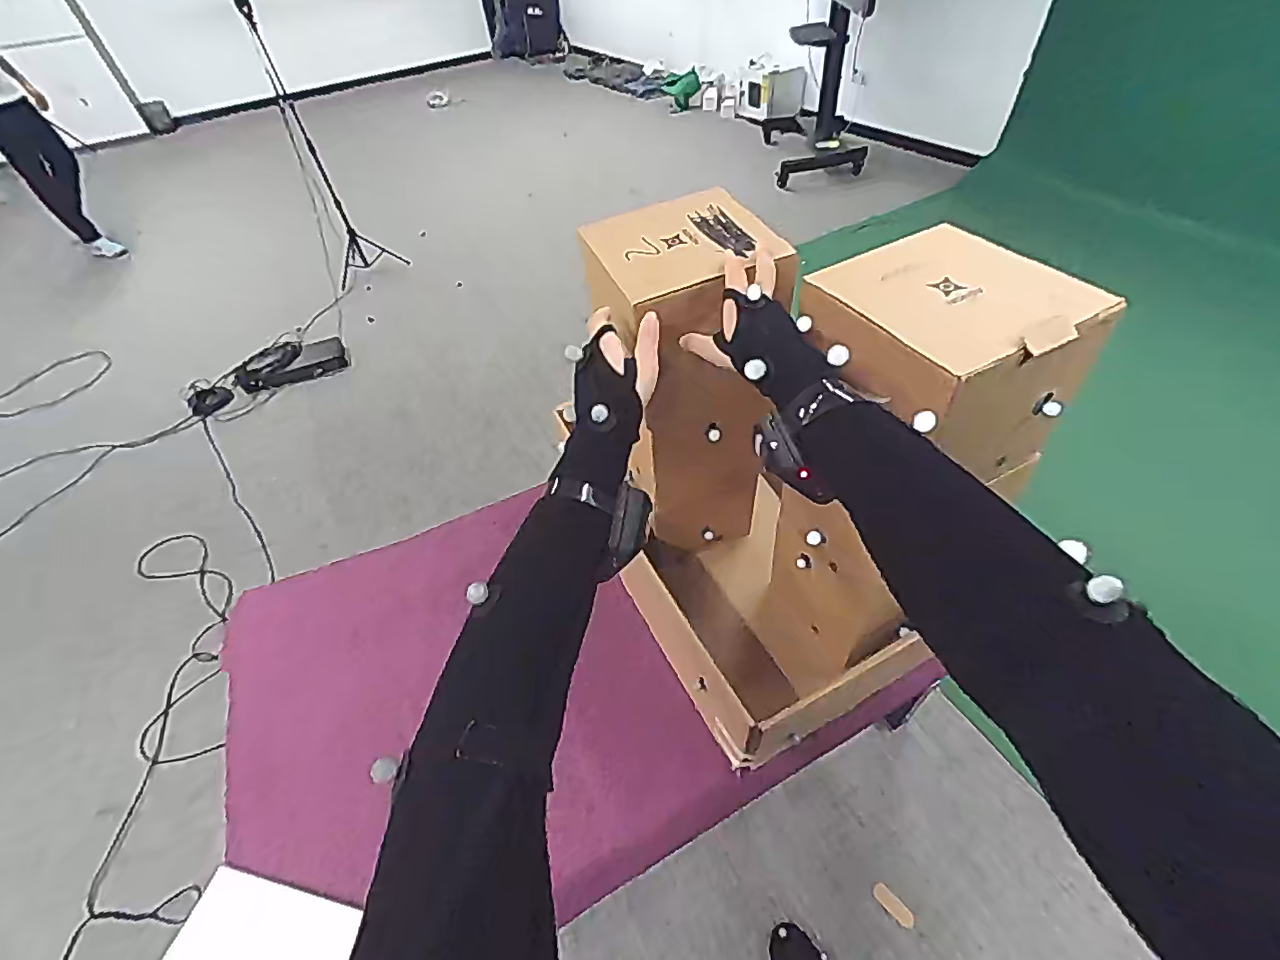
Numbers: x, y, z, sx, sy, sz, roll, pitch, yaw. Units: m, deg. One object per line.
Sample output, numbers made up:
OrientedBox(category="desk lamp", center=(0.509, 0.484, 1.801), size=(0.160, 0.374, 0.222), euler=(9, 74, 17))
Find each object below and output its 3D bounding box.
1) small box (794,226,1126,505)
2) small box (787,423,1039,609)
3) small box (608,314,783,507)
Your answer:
OrientedBox(category="small box", center=(0.262, -0.099, 0.496), size=(0.168, 0.176, 0.179), euler=(-23, 48, -12))
OrientedBox(category="small box", center=(0.286, 0.013, 0.613), size=(0.179, 0.176, 0.168), euler=(-24, 49, -11))
OrientedBox(category="small box", center=(0.071, -0.093, 0.742), size=(0.179, 0.176, 0.168), euler=(-20, 52, -10))
